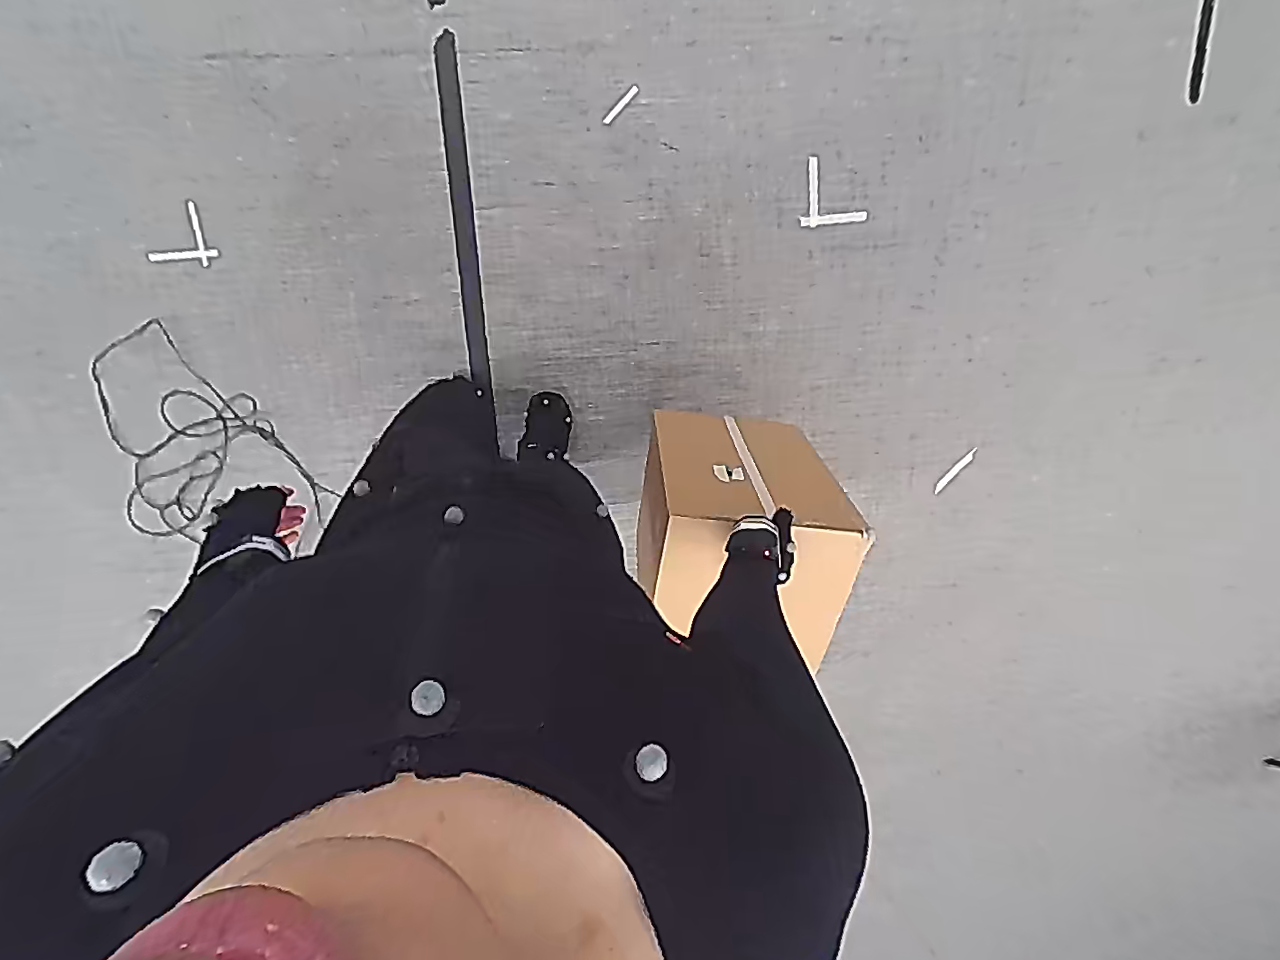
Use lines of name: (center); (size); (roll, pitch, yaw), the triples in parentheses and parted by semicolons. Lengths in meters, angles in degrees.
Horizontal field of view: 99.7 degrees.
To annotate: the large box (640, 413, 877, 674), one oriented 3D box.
large box: (0.181, 0.104, 1.046); (0.320, 0.408, 0.320); (6, 120, -5)
